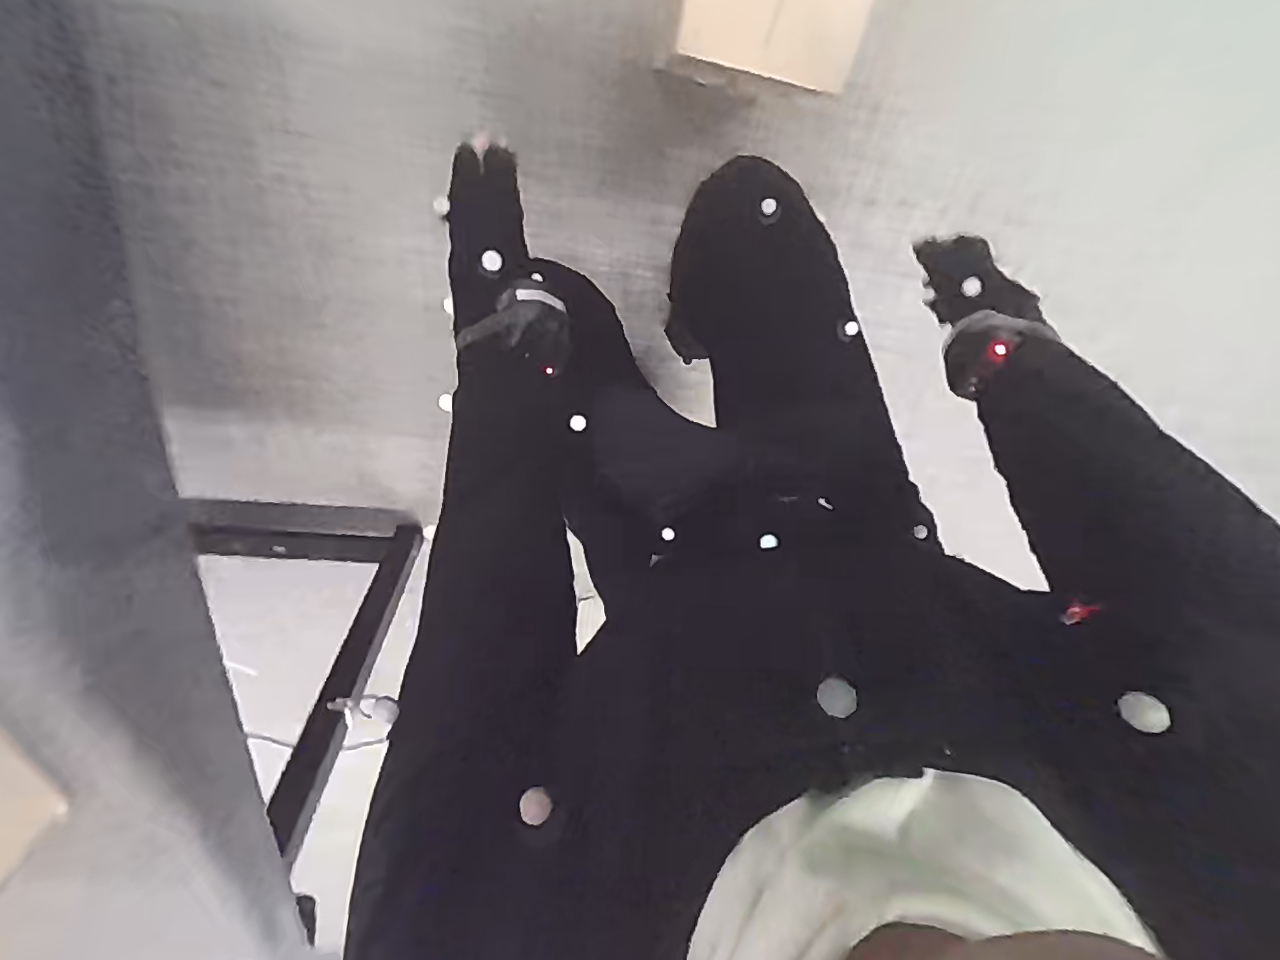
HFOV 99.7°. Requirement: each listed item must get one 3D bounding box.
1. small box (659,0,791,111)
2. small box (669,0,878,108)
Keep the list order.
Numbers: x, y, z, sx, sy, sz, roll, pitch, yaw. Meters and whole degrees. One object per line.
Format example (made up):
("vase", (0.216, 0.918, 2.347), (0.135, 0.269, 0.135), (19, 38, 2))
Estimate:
("small box", (0.121, -0.579, 0.663), (0.168, 0.176, 0.179), (10, 125, -8))
("small box", (0.129, -0.487, 0.526), (0.168, 0.176, 0.179), (10, 125, -9))
